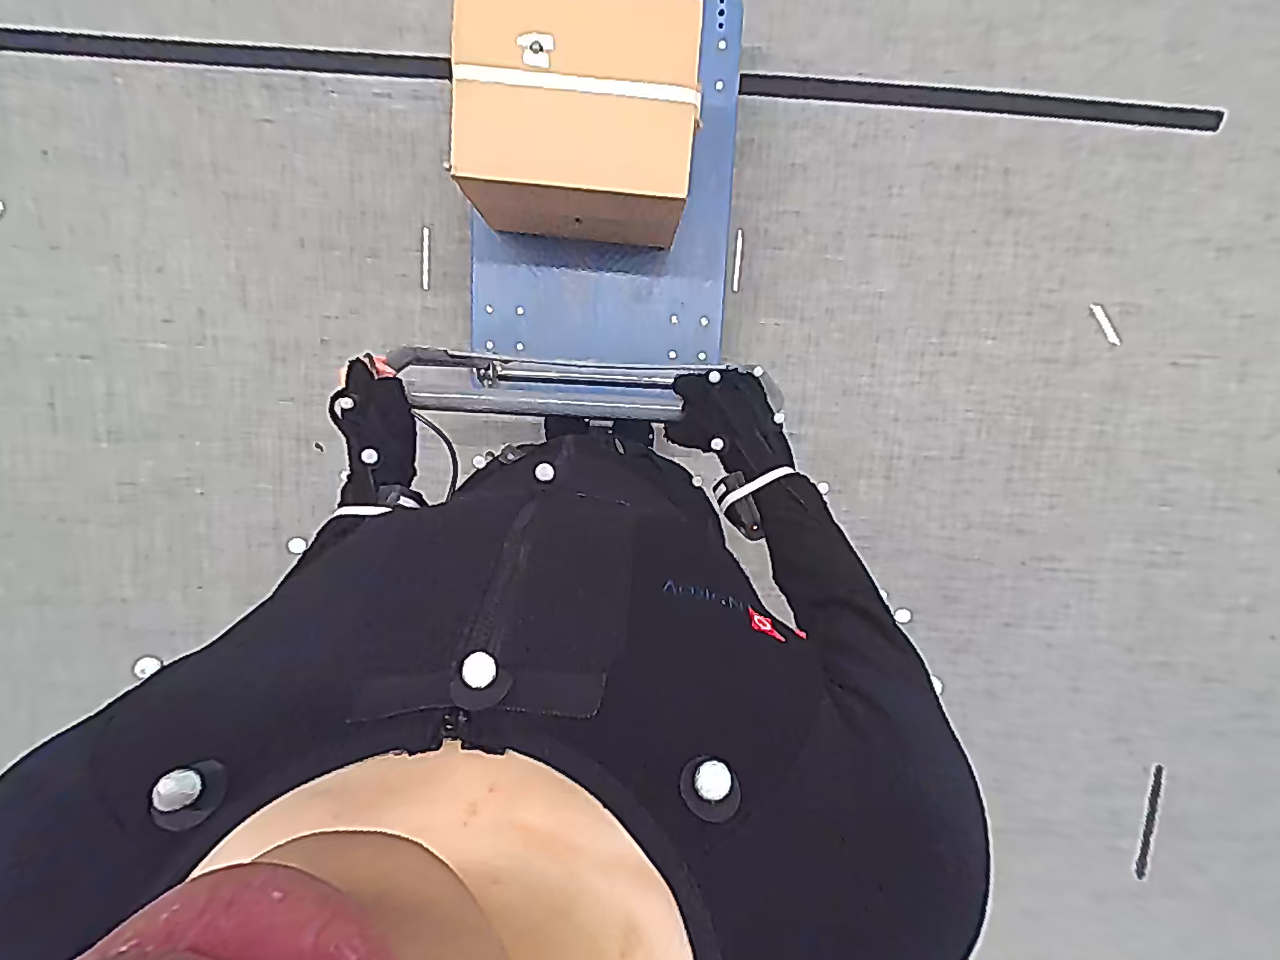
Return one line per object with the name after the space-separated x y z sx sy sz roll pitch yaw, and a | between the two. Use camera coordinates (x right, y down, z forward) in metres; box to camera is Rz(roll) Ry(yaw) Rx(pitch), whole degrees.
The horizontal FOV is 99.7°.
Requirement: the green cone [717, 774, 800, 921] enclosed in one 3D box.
0.346 1.006 1.458 0.202 0.368 0.200 7 98 -4 | green cone

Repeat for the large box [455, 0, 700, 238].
-0.109 -0.678 1.046 0.408 0.320 0.320 4 99 -2 | large box
